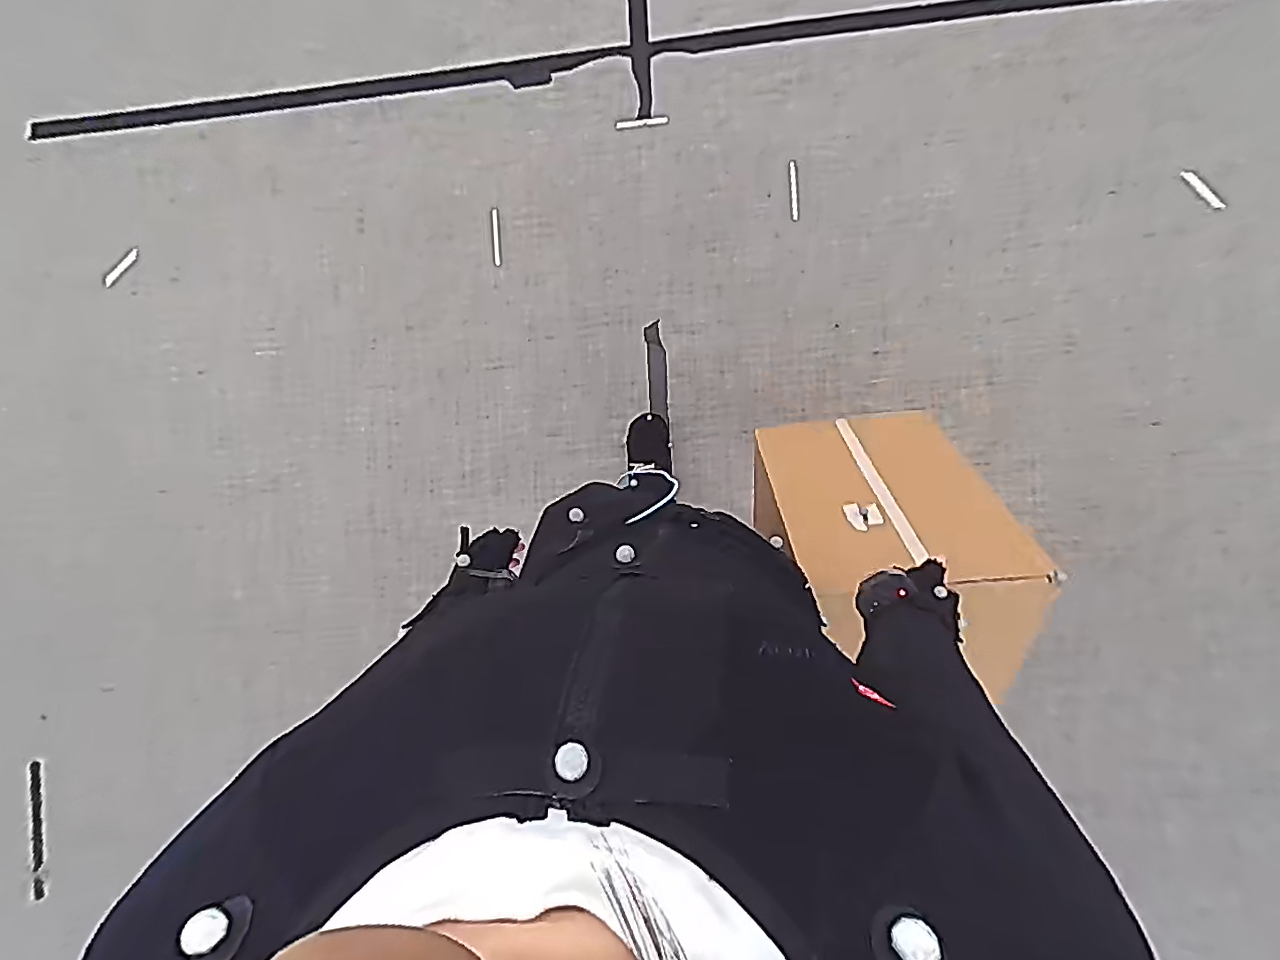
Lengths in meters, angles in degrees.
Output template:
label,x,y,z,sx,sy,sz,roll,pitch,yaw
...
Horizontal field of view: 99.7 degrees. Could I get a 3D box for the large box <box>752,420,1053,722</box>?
label,x,y,z,sx,sy,sz,roll,pitch,yaw
large box,0.377,0.140,0.922,0.320,0.408,0.320,-6,127,5
